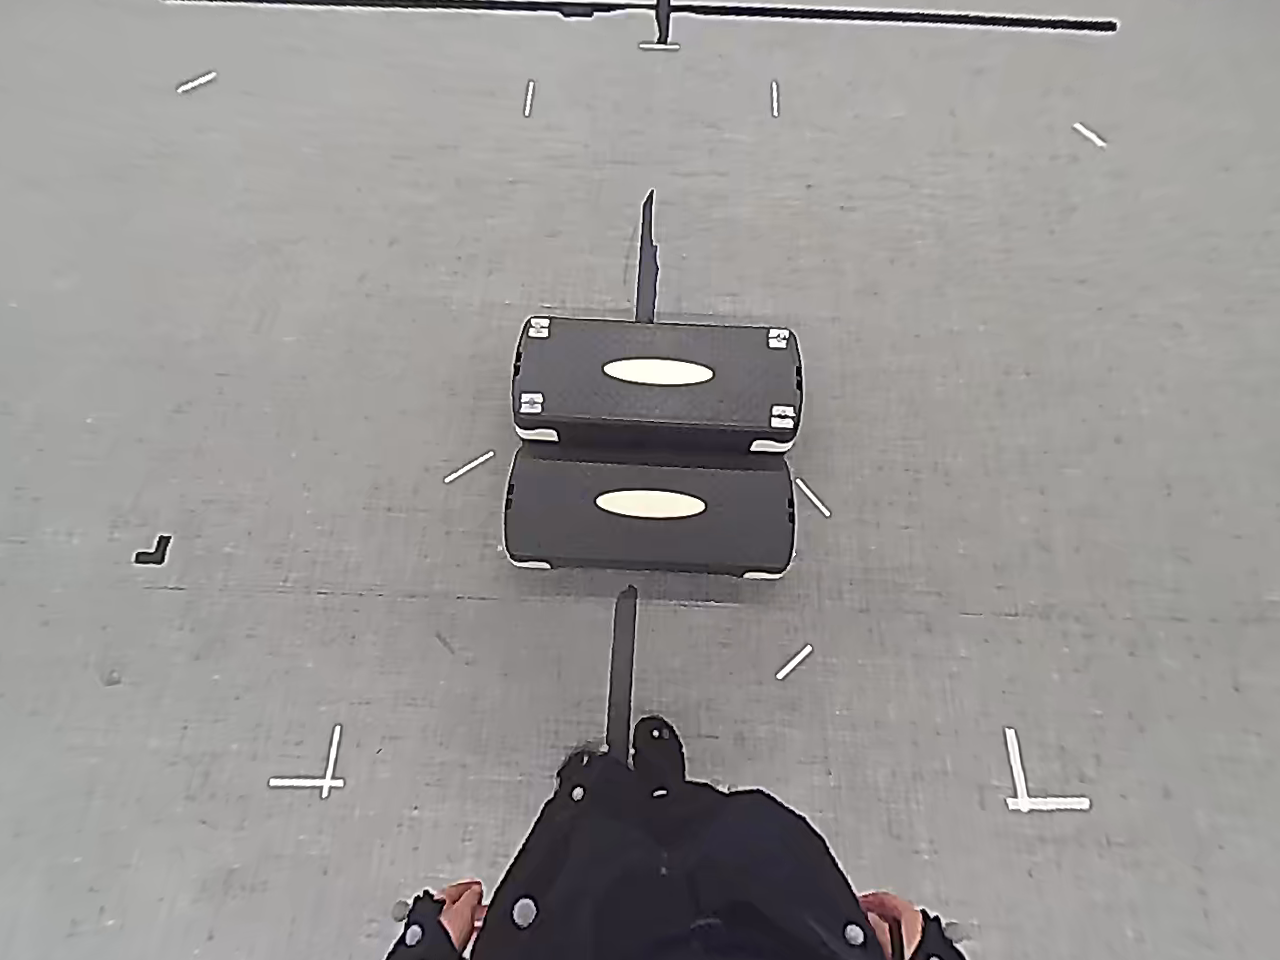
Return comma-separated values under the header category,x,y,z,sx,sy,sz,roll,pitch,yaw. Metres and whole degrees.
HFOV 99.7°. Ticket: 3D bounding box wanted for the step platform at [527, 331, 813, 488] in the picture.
category,x,y,z,sx,sy,sz,roll,pitch,yaw
step platform,0.070,-0.173,1.332,0.684,0.204,0.286,7,70,1
